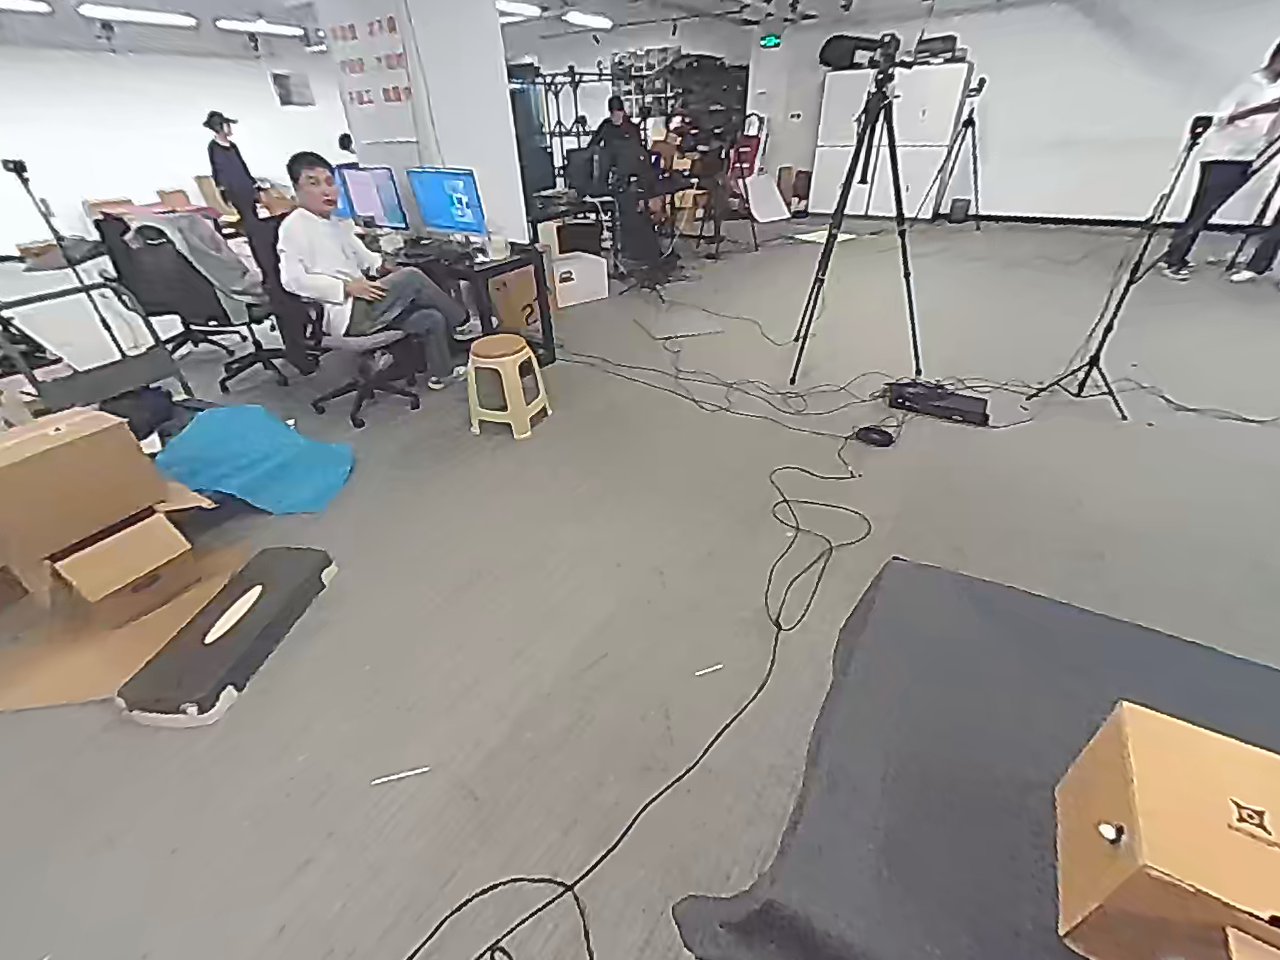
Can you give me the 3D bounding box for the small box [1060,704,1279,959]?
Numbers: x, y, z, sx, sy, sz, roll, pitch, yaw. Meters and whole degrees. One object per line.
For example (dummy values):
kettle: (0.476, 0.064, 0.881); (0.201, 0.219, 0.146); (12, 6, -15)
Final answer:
small box: (0.521, 0.358, 0.502); (0.168, 0.176, 0.179); (18, 38, 26)
